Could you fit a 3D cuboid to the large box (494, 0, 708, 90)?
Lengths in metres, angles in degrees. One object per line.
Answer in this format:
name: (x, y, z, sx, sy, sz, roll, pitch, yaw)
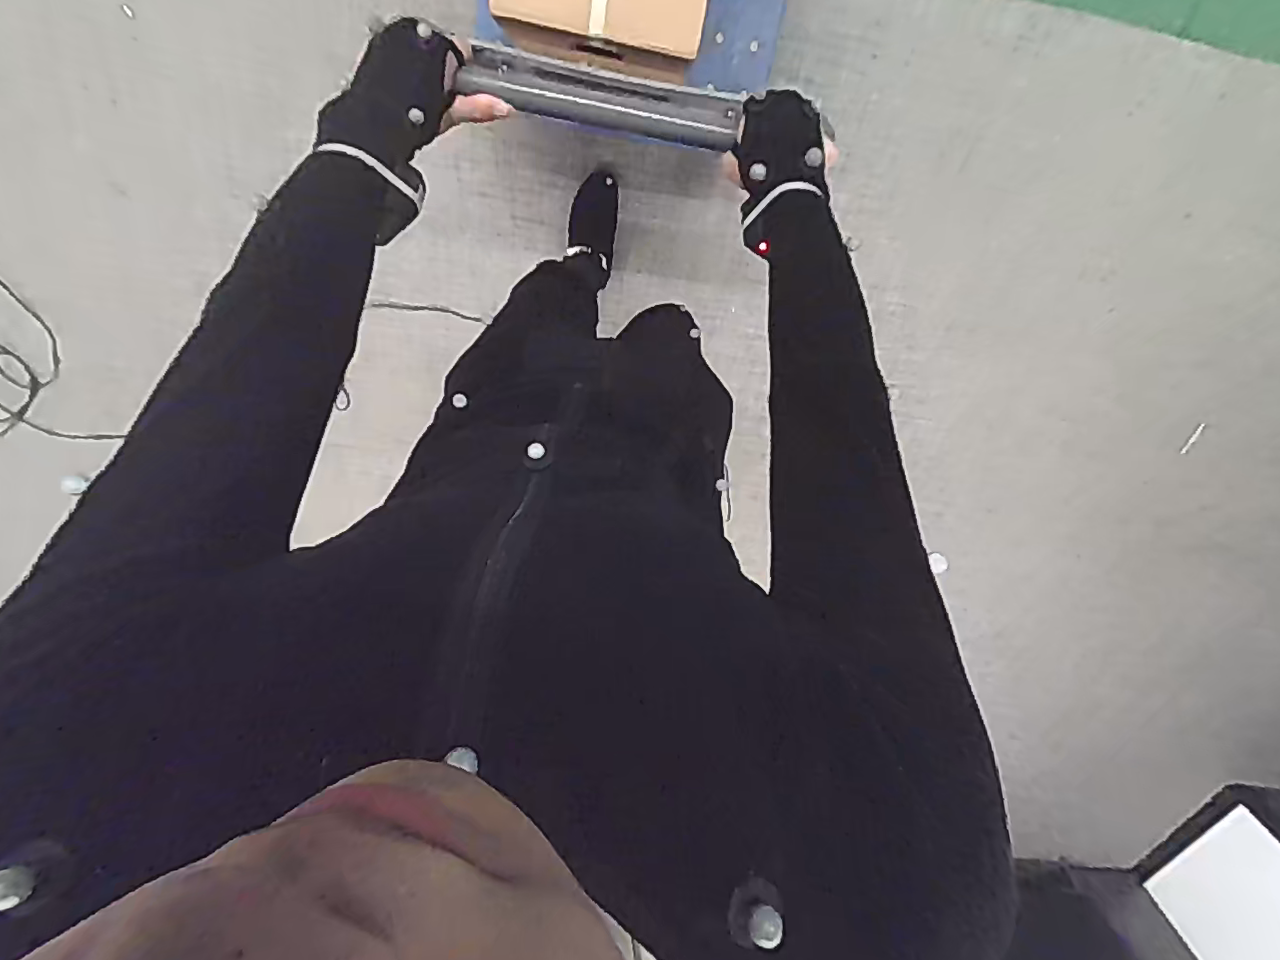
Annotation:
large box: (-0.035, -0.905, 0.852, 0.320, 0.320, 0.408, 8, 117, -6)
